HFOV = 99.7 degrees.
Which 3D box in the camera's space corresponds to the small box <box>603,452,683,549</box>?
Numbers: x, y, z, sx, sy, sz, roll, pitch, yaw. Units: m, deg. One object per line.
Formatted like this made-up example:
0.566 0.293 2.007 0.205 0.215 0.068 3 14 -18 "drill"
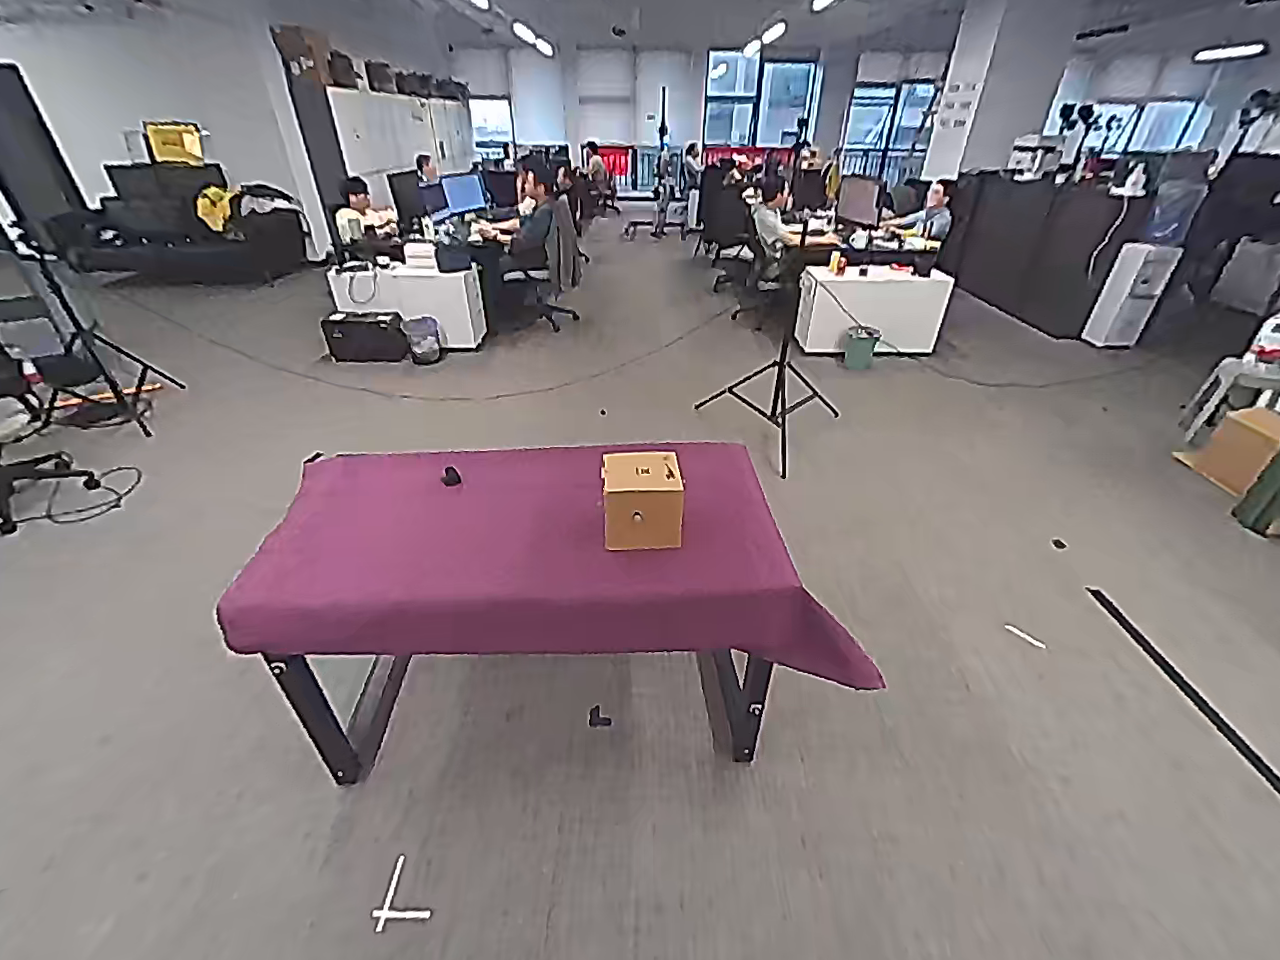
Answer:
0.006 0.050 1.282 0.179 0.176 0.168 -3 33 -3 "small box"
